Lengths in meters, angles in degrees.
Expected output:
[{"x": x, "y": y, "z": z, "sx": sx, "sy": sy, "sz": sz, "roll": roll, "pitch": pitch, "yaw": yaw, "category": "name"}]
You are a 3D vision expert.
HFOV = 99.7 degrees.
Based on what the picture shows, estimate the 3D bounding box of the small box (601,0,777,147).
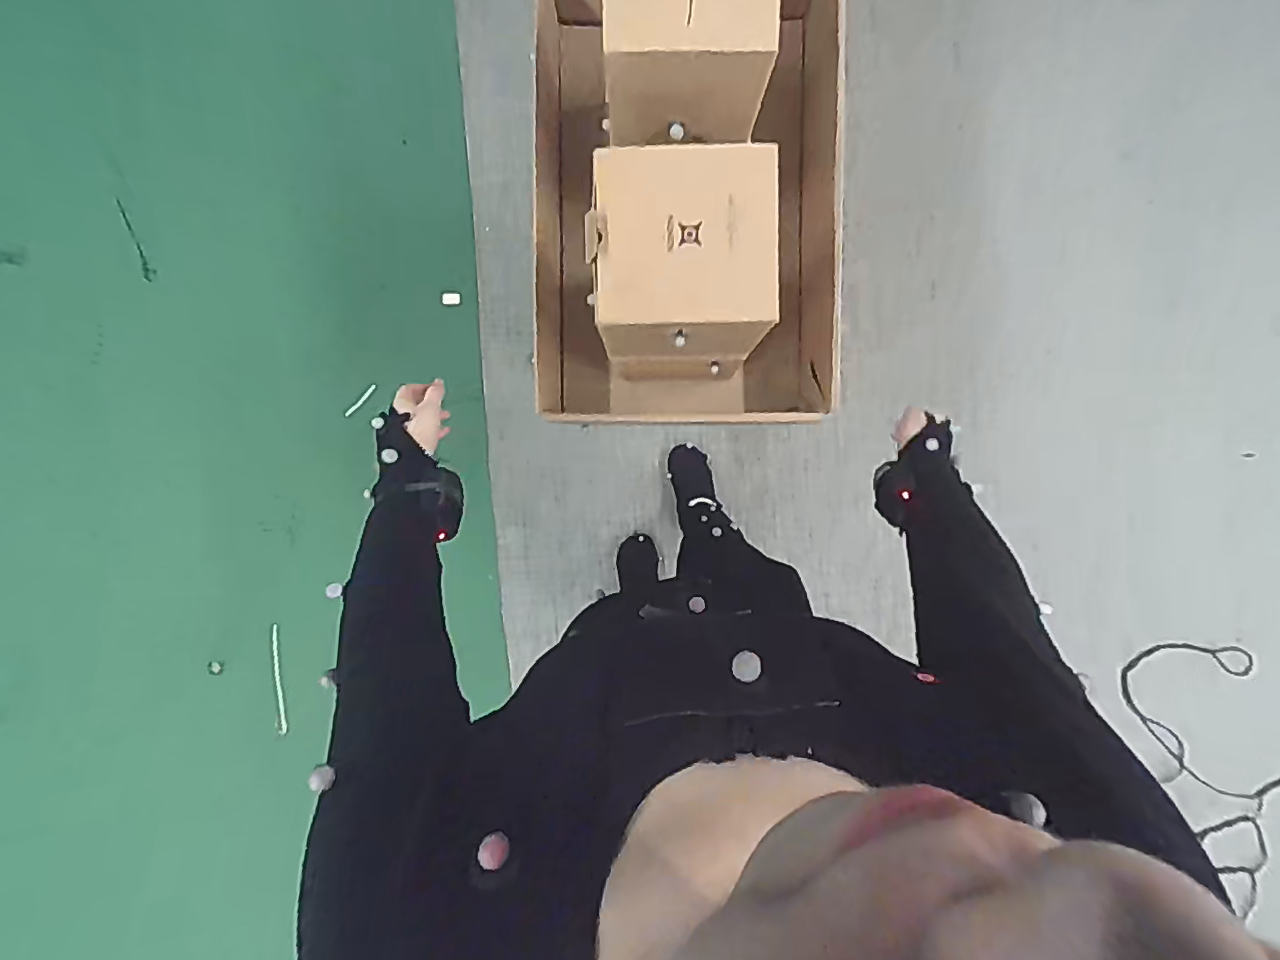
[{"x": 0.047, "y": -0.491, "z": 0.579, "sx": 0.168, "sy": 0.176, "sz": 0.179, "roll": 2, "pitch": 95, "yaw": 0, "category": "small box"}]

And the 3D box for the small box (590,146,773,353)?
[{"x": 0.042, "y": -0.237, "z": 0.596, "sx": 0.179, "sy": 0.176, "sz": 0.168, "roll": -1, "pitch": 93, "yaw": 0, "category": "small box"}]
